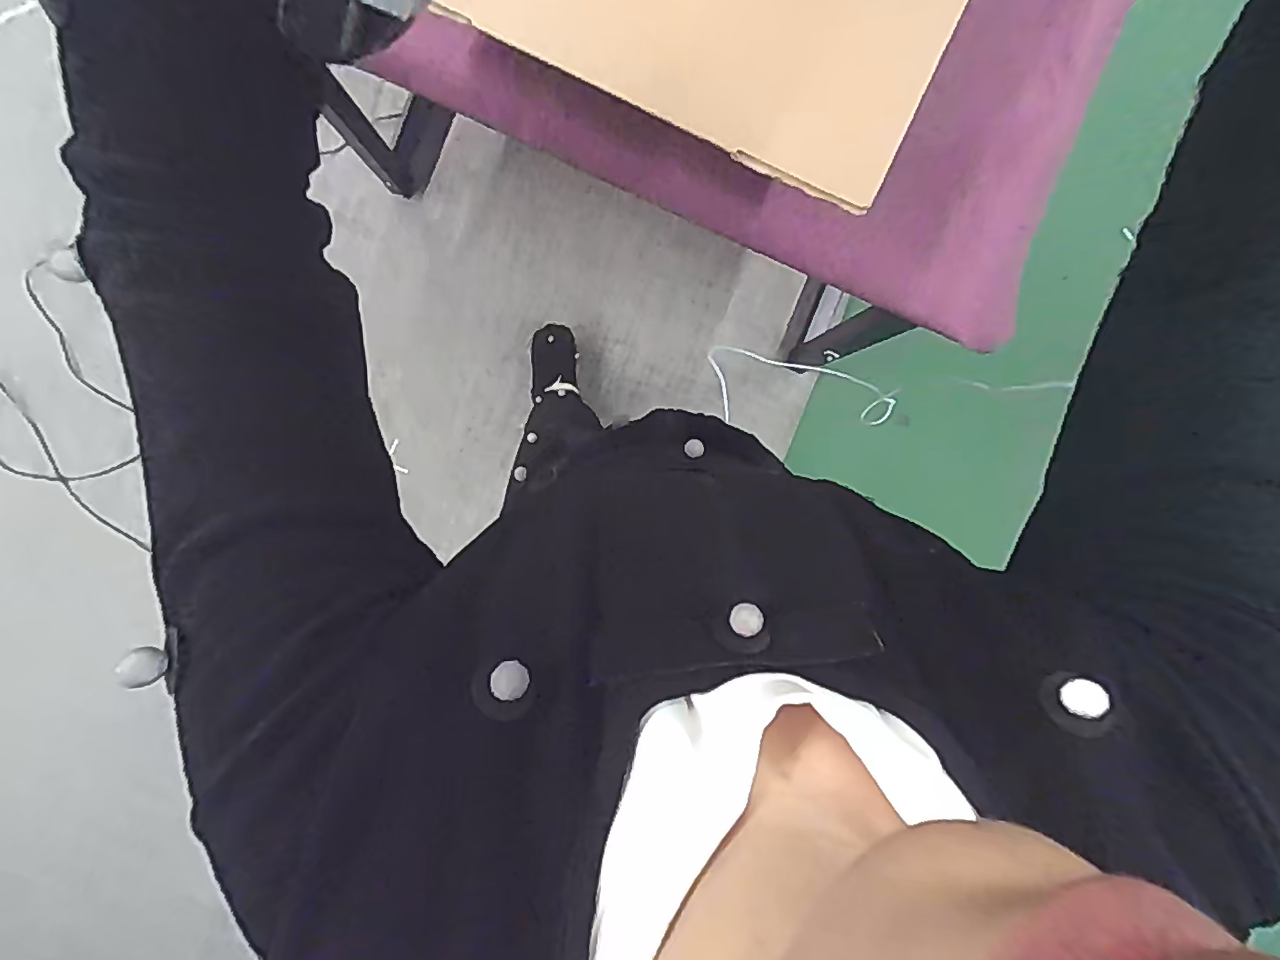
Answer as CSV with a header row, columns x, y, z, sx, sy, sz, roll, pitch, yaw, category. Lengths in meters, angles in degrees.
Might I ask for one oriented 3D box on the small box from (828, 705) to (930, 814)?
x,y,z,sx,sy,sz,roll,pitch,yaw,category
0.639,0.754,1.473,0.168,0.176,0.179,23,92,-5,small box
